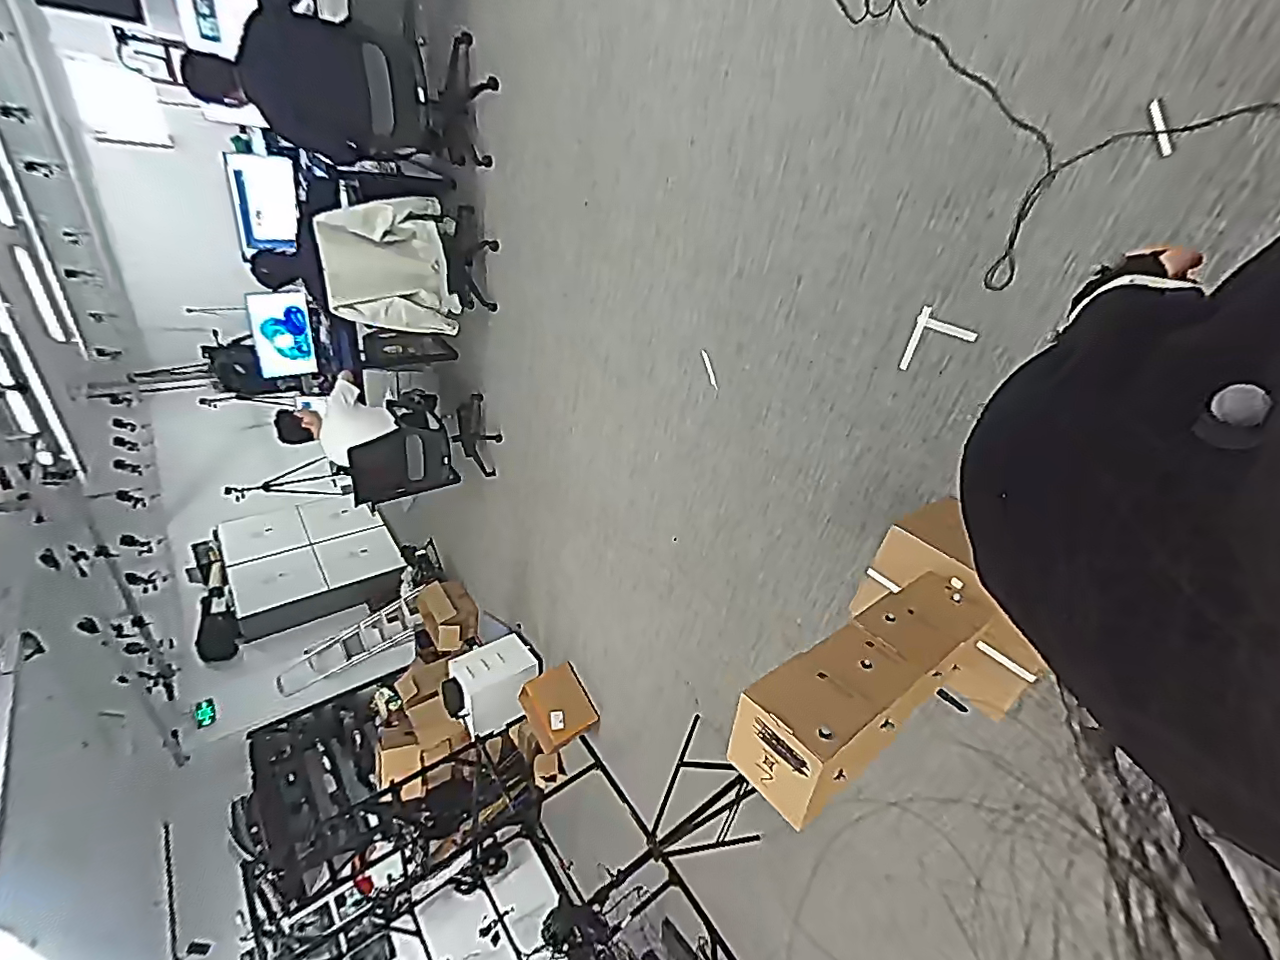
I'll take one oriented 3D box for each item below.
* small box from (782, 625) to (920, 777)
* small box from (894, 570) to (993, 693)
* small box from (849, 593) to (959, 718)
[{"bbox_3d":[0.406,0.412,1.038,0.168,0.176,0.179,34,129,43],"label":"small box"},{"bbox_3d":[0.661,0.338,1.229,0.168,0.176,0.179,38,131,38],"label":"small box"},{"bbox_3d":[0.532,0.369,1.135,0.168,0.176,0.179,38,132,40],"label":"small box"}]
